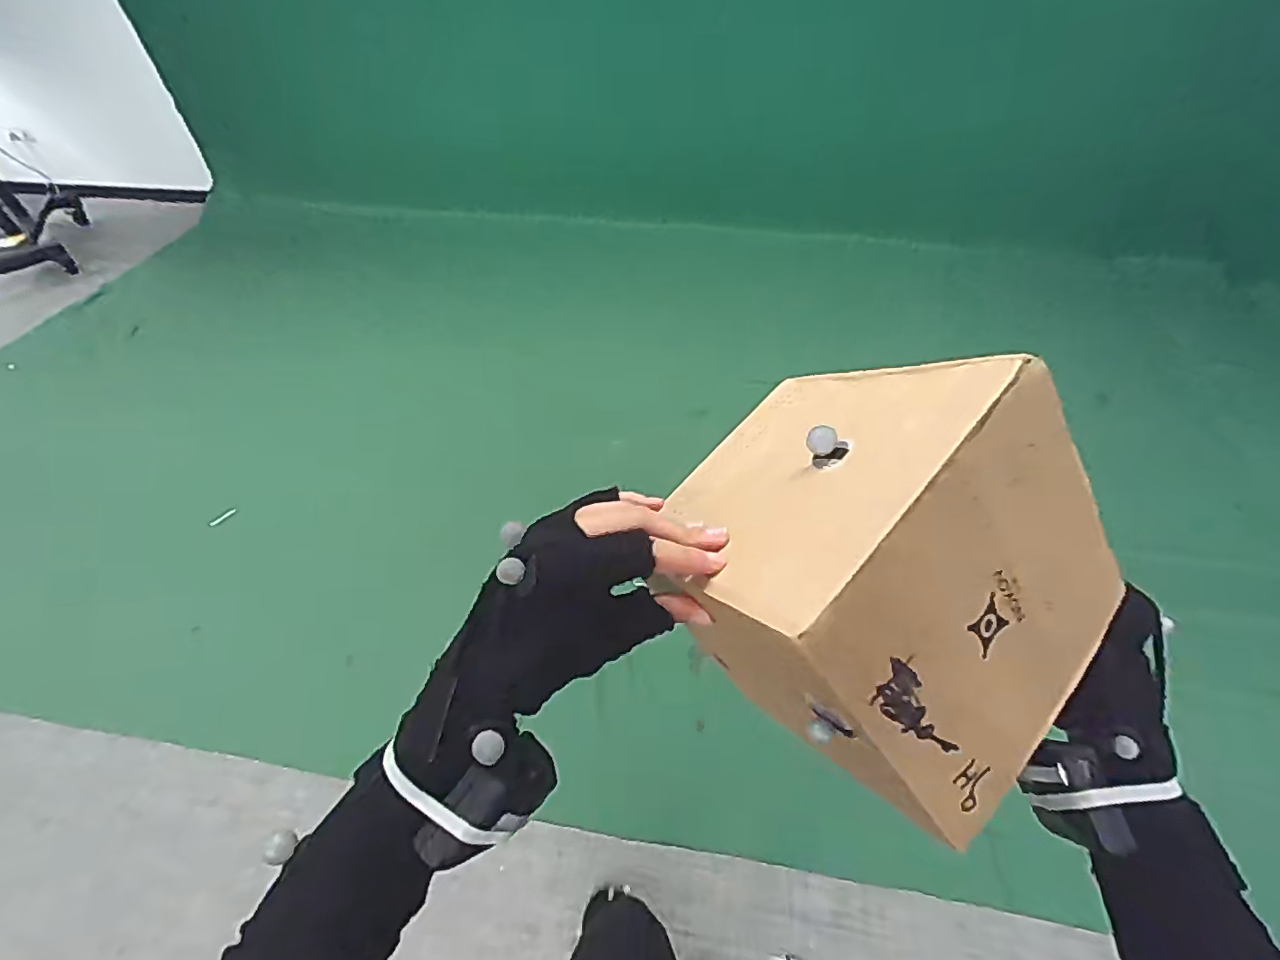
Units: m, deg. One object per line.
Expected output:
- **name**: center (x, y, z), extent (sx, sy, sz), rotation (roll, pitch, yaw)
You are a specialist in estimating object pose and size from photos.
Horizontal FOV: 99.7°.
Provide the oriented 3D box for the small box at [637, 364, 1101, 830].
- **small box**: center (0.130, 0.052, 0.334), extent (0.179, 0.168, 0.176), rotation (-46, 22, -16)
